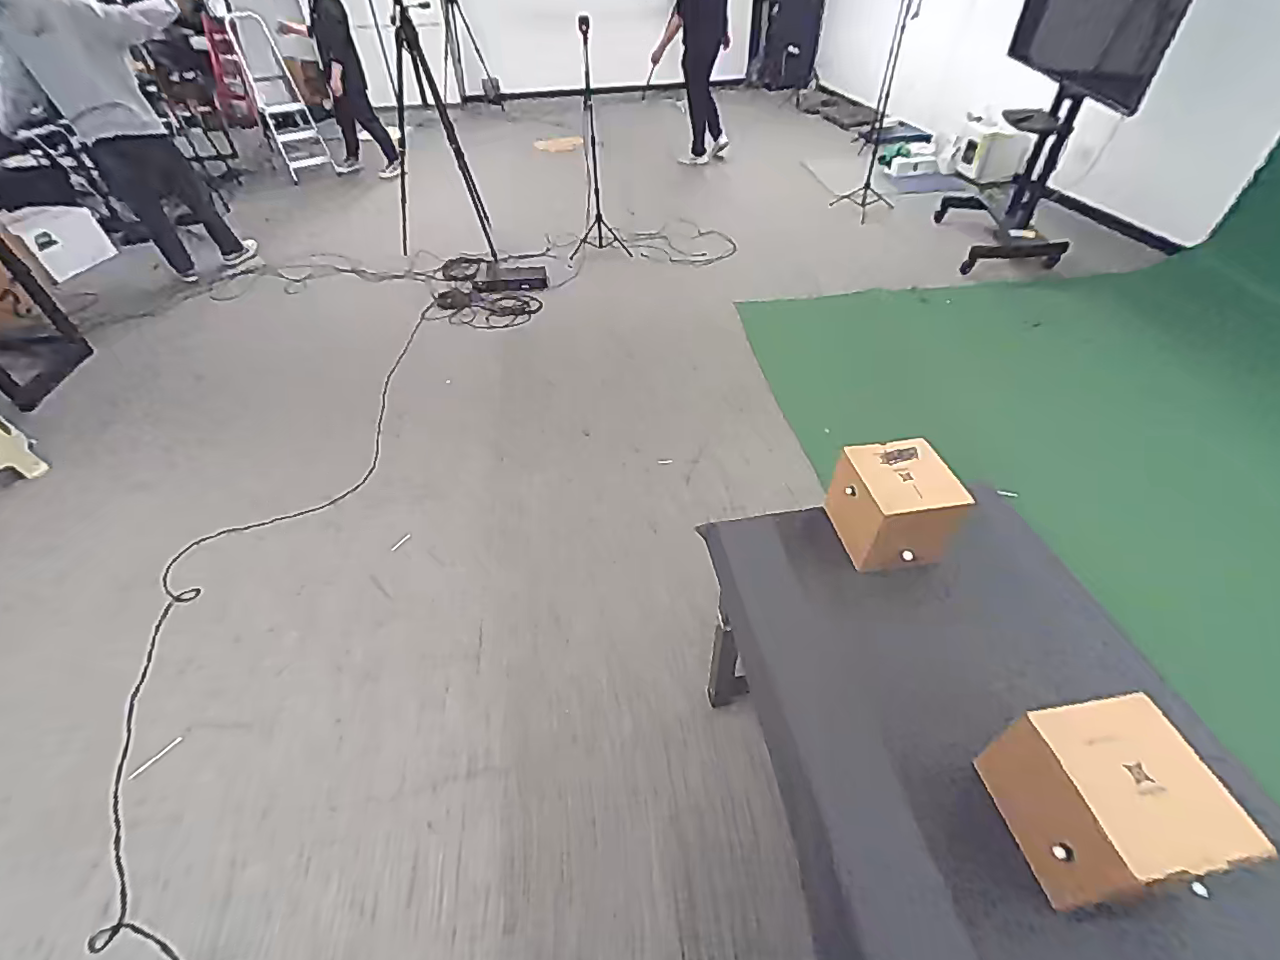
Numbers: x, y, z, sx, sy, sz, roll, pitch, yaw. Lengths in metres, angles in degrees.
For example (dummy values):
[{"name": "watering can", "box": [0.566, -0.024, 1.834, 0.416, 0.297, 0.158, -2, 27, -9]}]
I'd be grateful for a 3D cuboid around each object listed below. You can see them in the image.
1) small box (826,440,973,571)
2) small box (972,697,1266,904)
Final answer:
[{"name": "small box", "box": [0.474, 0.049, 1.023, 0.168, 0.176, 0.179, -6, 46, -6]}, {"name": "small box", "box": [0.565, 0.400, 0.672, 0.168, 0.176, 0.179, -6, 44, -7]}]
